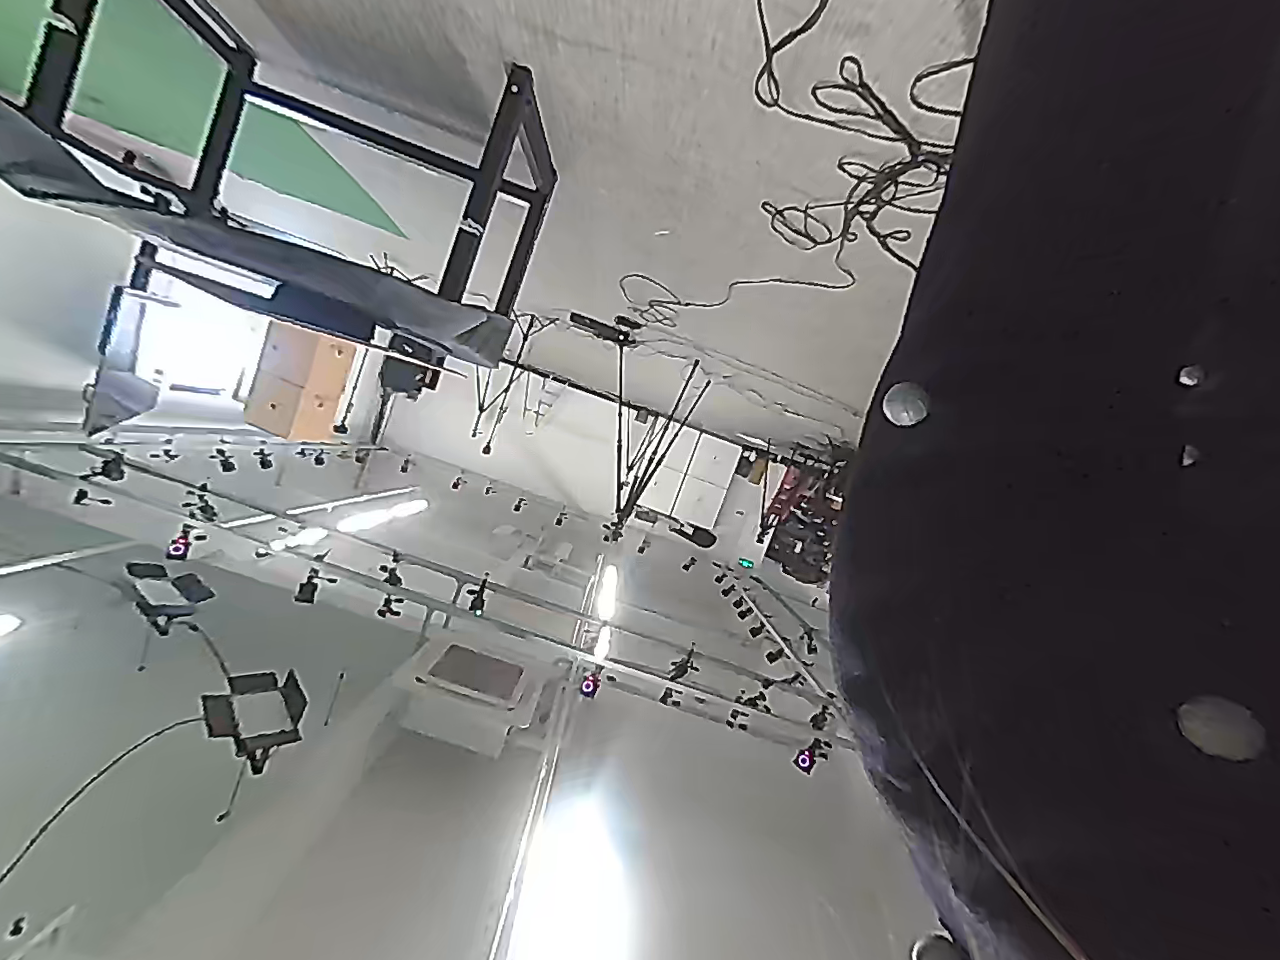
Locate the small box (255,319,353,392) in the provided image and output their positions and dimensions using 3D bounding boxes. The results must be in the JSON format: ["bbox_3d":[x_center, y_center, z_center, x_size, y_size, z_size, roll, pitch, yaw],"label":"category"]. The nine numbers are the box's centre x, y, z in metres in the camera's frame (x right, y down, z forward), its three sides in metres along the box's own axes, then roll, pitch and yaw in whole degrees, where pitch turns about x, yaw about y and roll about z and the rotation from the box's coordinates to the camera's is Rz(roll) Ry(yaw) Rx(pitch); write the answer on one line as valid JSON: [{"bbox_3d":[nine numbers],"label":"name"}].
[{"bbox_3d":[-1.032,-0.387,1.673,0.179,0.176,0.168,20,-174,6],"label":"small box"}]

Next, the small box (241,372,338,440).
[{"bbox_3d":[-1.090,-0.234,1.692,0.179,0.176,0.168,20,-174,7],"label":"small box"}]
